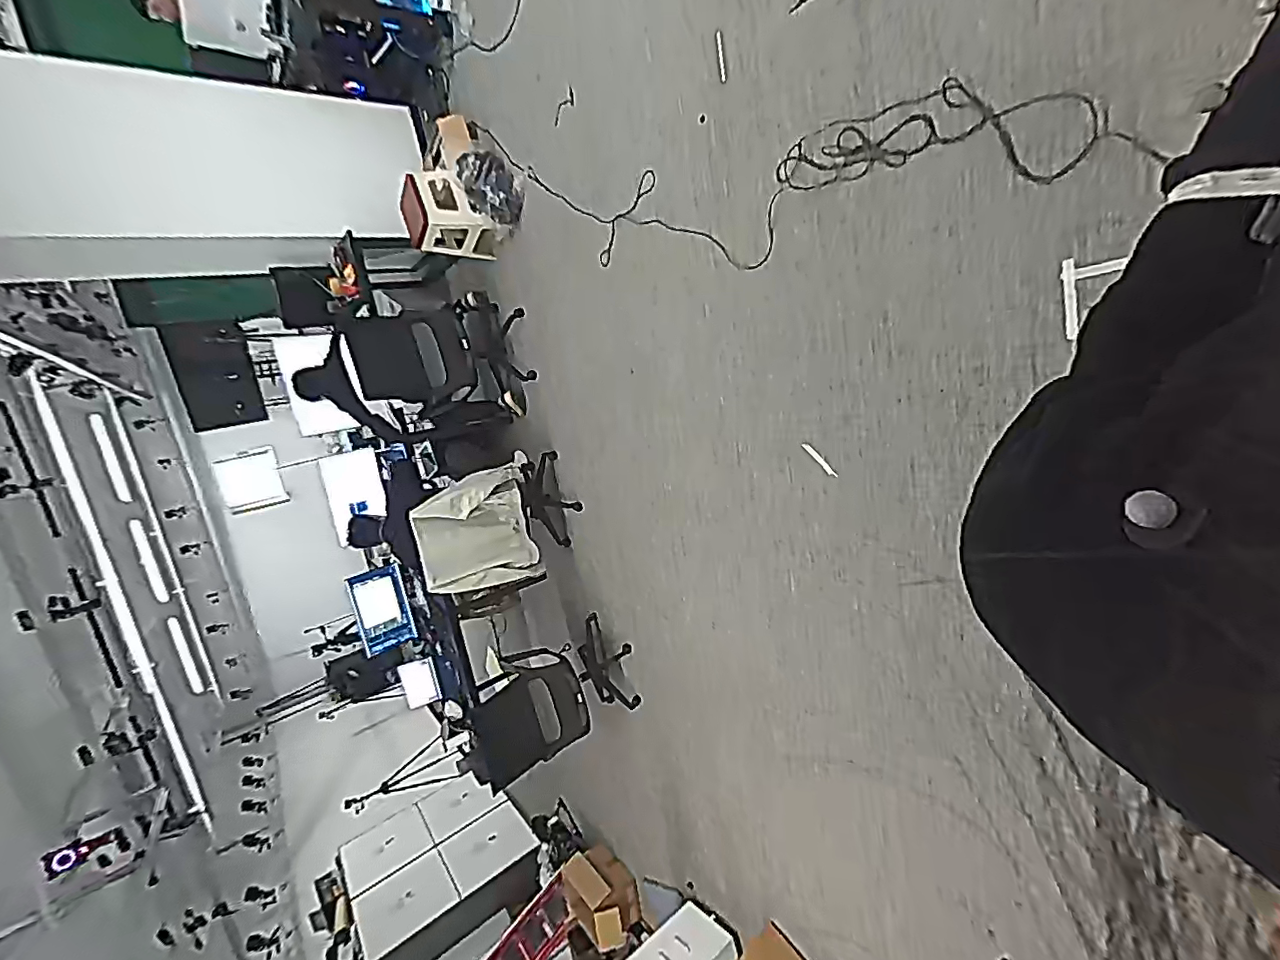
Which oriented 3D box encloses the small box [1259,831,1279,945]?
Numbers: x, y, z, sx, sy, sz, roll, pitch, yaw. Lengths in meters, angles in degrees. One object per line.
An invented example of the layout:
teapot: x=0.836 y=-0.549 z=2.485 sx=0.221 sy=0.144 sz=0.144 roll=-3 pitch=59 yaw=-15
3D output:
small box: x=0.910 y=0.517 z=0.661 sx=0.168 sy=0.176 sz=0.179 roll=15 pitch=116 yaw=49

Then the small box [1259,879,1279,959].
small box: x=0.783 y=0.568 z=0.569 sx=0.168 sy=0.176 sz=0.179 roll=13 pitch=114 yaw=51
